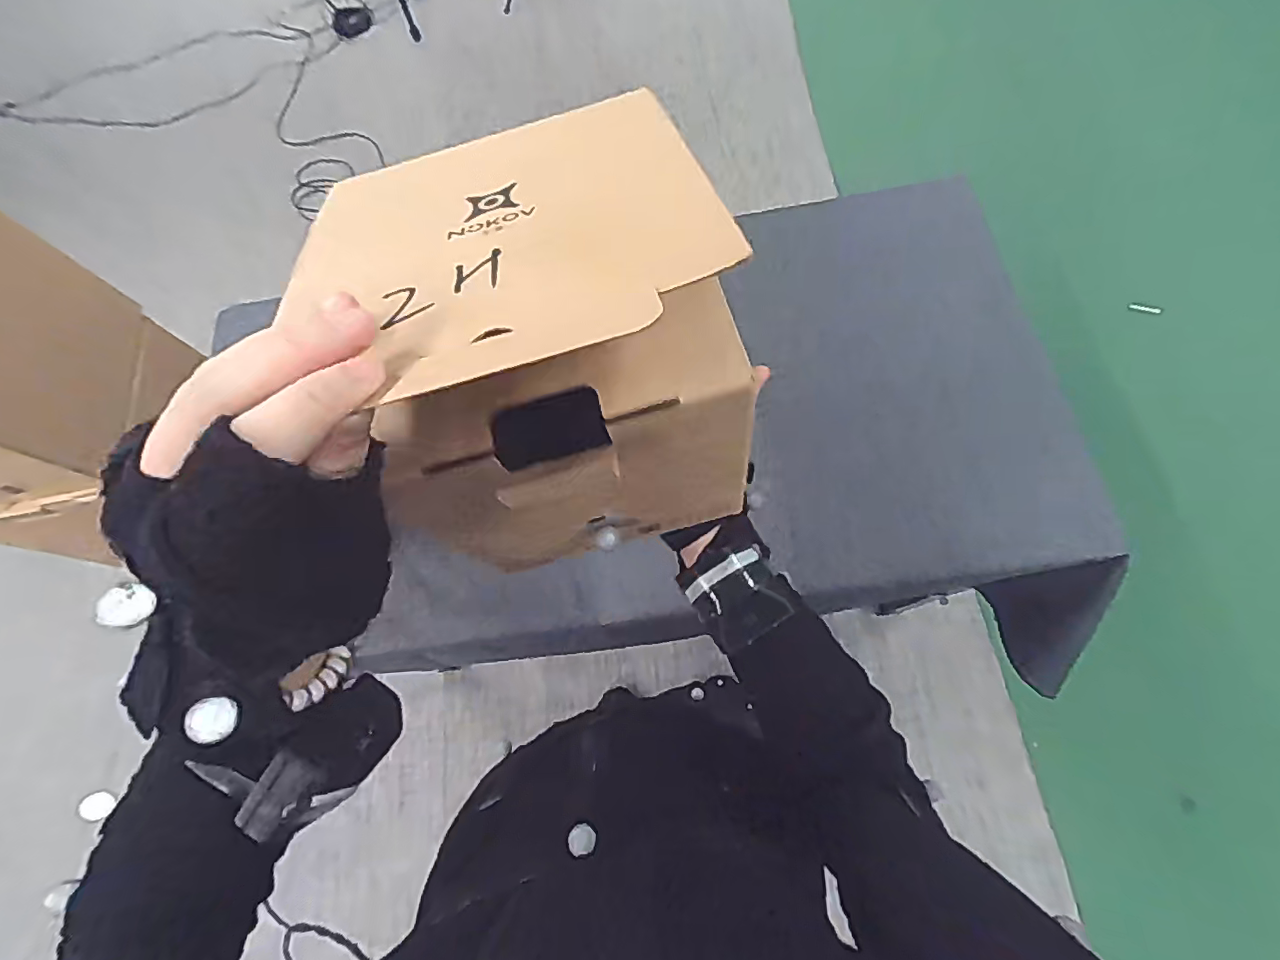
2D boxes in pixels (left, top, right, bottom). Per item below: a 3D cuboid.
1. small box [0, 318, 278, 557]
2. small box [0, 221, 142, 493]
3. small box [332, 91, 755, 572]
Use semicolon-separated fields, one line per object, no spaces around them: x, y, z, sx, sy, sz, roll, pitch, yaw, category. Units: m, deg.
-0.498;-0.027;0.537;0.168;0.176;0.179;-9;69;2;small box
-0.516;-0.091;0.387;0.168;0.176;0.179;-10;69;1;small box
-0.044;-0.066;0.308;0.168;0.176;0.179;-16;66;2;small box
